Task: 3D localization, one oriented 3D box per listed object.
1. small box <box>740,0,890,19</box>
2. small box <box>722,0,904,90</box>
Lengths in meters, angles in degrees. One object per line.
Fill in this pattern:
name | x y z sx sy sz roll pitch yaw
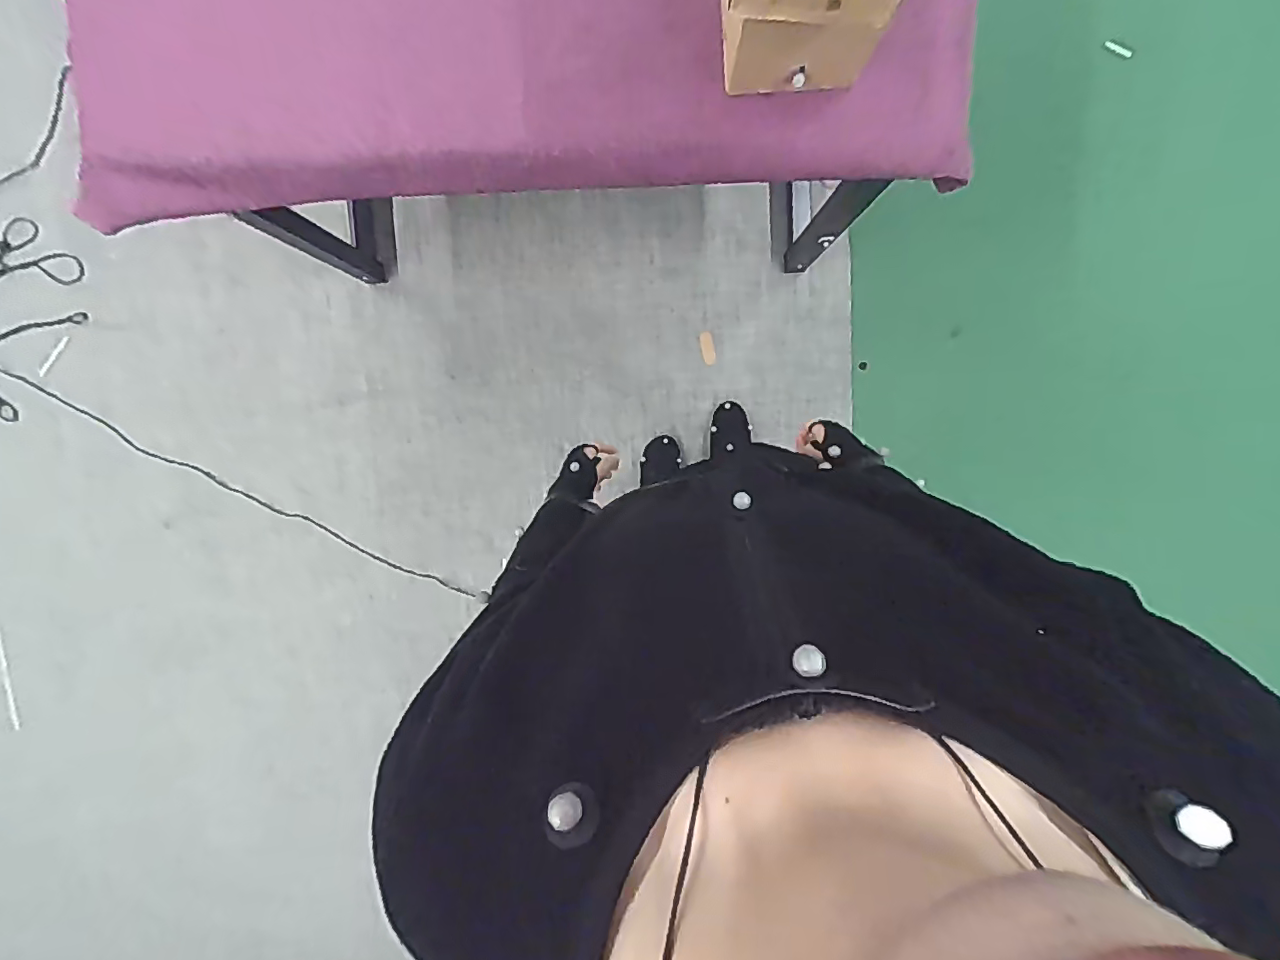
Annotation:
small box | 0.175 -0.560 0.468 0.168 0.176 0.179 5 96 2
small box | 0.194 -0.593 0.629 0.179 0.176 0.168 -2 94 2
